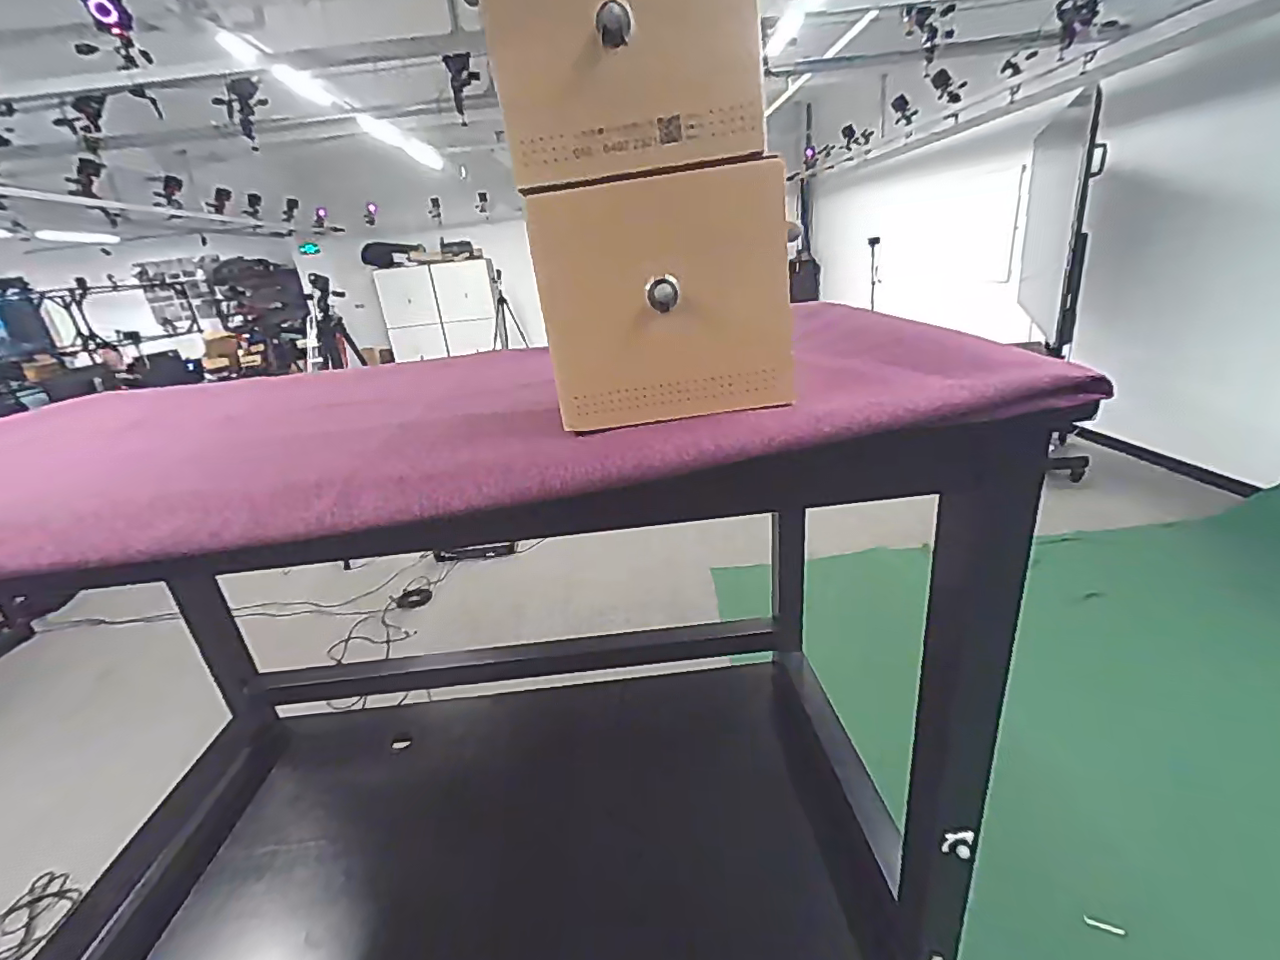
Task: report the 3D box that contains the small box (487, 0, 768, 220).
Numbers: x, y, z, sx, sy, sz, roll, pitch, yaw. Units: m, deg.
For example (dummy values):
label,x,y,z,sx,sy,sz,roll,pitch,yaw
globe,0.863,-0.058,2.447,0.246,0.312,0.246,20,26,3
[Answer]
label,x,y,z,sx,sy,sz,roll,pitch,yaw
small box,-0.007,-0.301,0.397,0.168,0.176,0.179,-7,20,2
